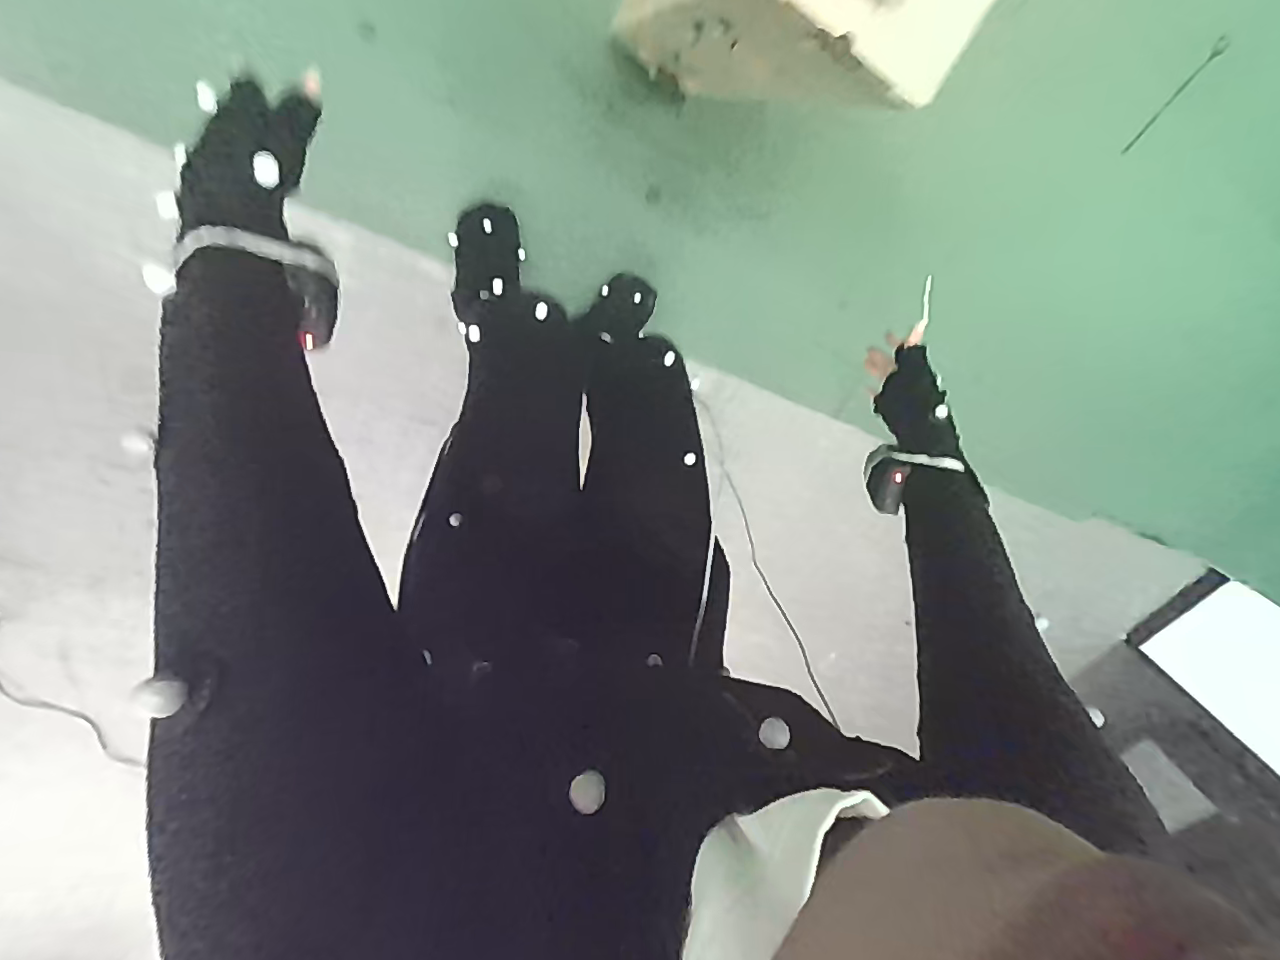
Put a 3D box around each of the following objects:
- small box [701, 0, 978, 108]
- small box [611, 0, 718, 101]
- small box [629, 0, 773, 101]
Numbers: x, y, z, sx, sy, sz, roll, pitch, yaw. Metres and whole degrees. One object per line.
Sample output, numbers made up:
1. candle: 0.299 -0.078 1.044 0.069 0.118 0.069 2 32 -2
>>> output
1. small box: 0.161 -0.422 0.413 0.168 0.176 0.179 17 119 -25
2. small box: 0.070 -0.705 0.804 0.168 0.176 0.179 19 119 -24
3. small box: 0.100 -0.612 0.674 0.168 0.176 0.179 17 120 -24
